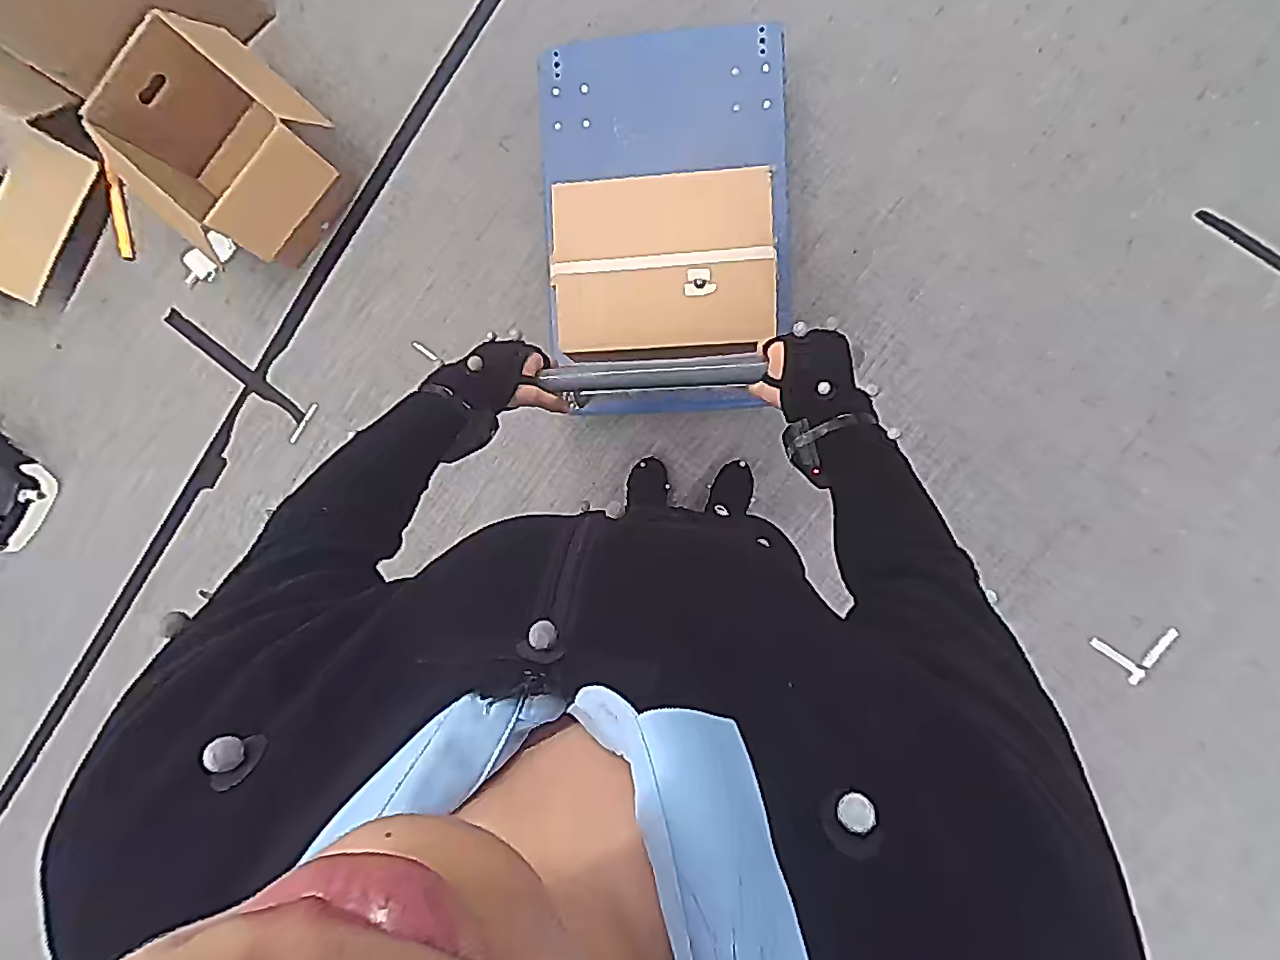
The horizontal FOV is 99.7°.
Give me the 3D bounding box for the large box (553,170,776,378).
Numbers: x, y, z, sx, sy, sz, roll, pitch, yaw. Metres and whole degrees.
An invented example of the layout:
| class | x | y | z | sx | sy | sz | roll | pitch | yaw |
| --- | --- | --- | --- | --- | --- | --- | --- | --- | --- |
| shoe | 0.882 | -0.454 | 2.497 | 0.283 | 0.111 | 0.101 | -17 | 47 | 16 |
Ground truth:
| class | x | y | z | sx | sy | sz | roll | pitch | yaw |
| --- | --- | --- | --- | --- | --- | --- | --- | --- | --- |
| large box | 0.053 | -0.404 | 1.144 | 0.408 | 0.320 | 0.320 | -2 | 93 | 4 |
